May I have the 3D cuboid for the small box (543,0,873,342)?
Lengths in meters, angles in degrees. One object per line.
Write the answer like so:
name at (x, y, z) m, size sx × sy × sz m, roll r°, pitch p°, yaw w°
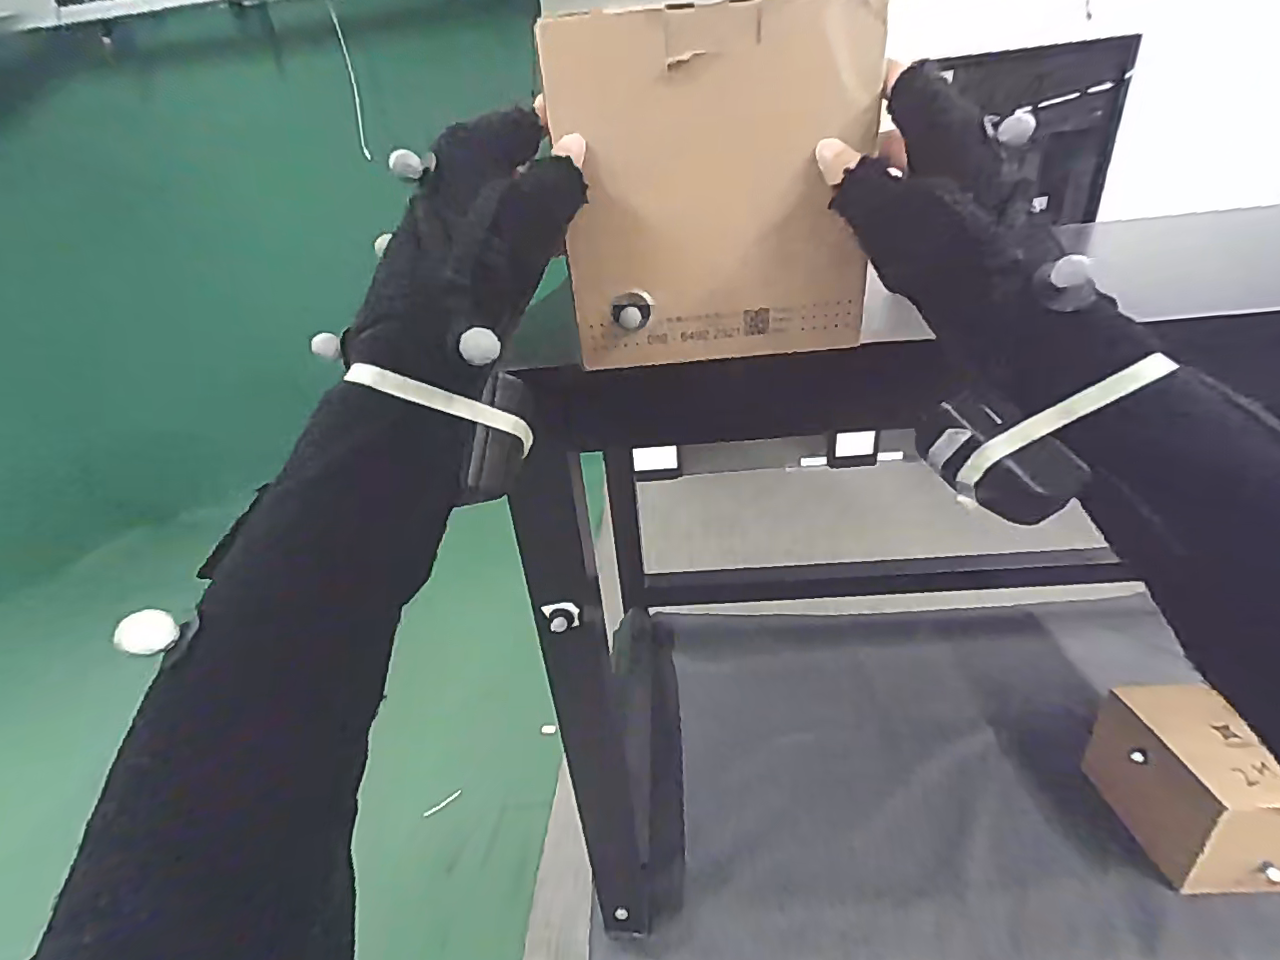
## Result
small box at (0.041, -0.192, 0.366) m, size 0.168 × 0.176 × 0.179 m, roll -4°, pitch 25°, yaw 2°

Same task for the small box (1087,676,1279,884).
small box at (0.740, 0.385, 0.707) m, size 0.168 × 0.176 × 0.179 m, roll -5°, pitch 25°, yaw 4°
